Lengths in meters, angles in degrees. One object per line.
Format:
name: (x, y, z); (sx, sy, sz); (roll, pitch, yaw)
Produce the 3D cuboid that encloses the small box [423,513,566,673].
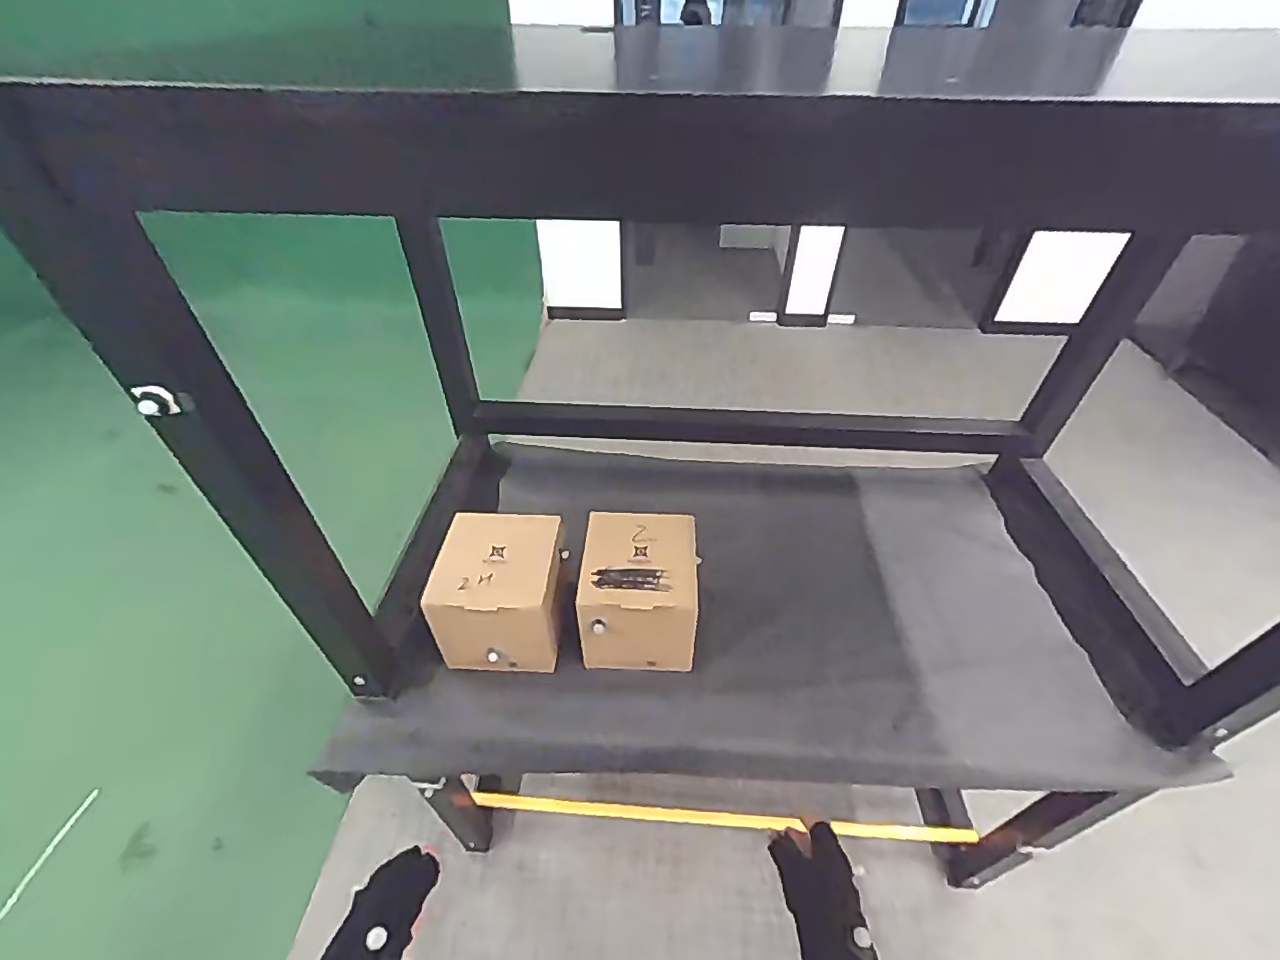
small box: (-0.208, 0.172, 0.833); (0.168, 0.176, 0.179); (2, 42, 1)
